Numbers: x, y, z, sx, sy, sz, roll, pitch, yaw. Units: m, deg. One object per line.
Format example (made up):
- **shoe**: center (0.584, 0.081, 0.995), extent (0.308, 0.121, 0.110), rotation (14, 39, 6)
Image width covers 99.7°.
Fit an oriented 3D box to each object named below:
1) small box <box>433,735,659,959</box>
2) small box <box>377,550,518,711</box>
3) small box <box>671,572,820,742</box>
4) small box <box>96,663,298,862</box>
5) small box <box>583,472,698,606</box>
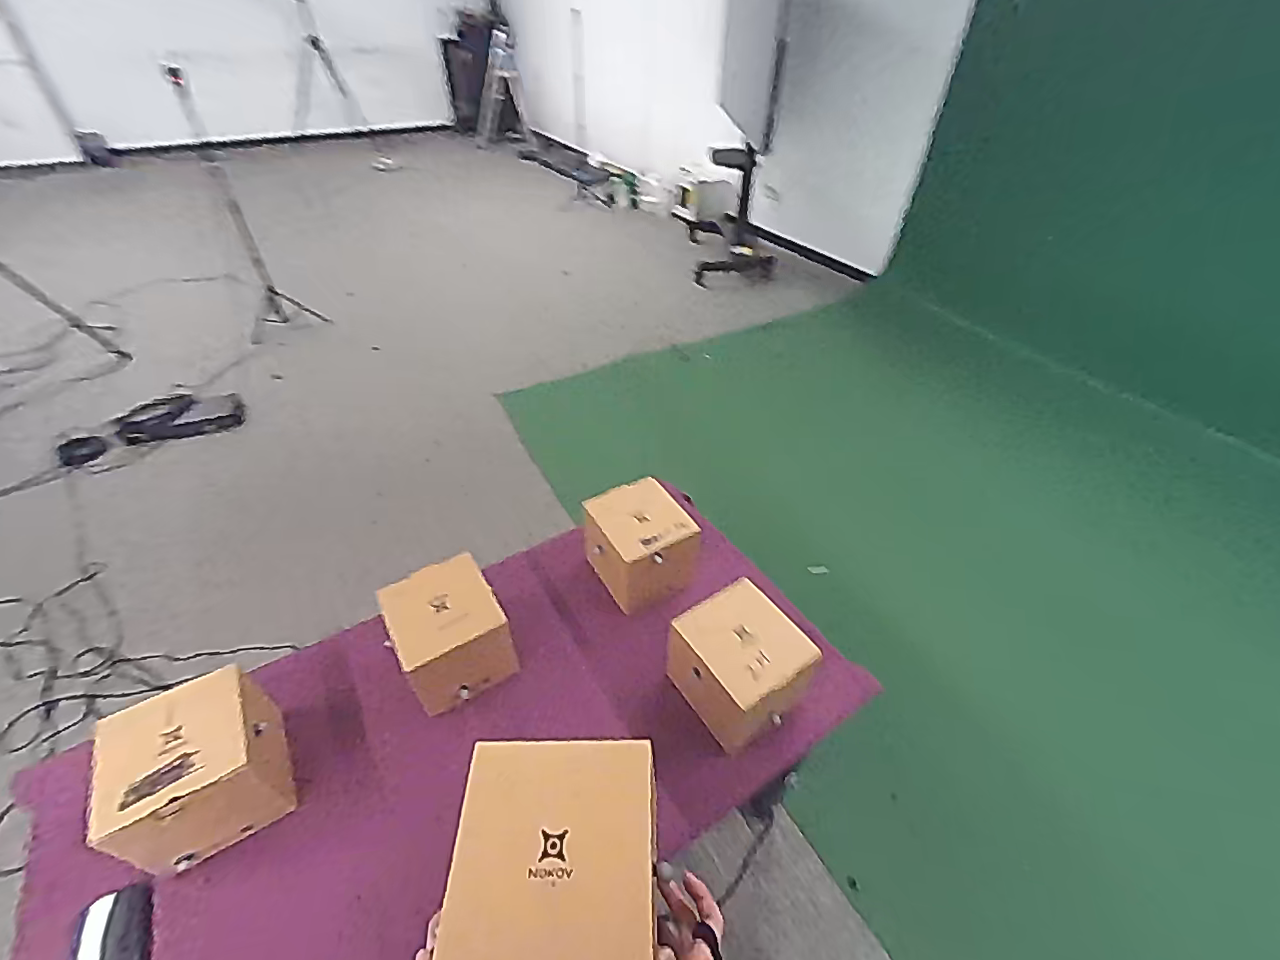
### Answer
- **small box**: center (-0.068, 0.357, 0.503), extent (0.168, 0.176, 0.179), rotation (-1, 48, 2)
- **small box**: center (-0.330, 0.261, 0.942), extent (0.168, 0.176, 0.179), rotation (-24, 49, -24)
- **small box**: center (0.163, 0.294, 0.904), extent (0.168, 0.176, 0.179), rotation (-25, 49, -24)
- **small box**: center (-0.620, 0.408, 0.776), extent (0.168, 0.176, 0.179), rotation (-24, 47, -25)
- **small box**: center (-0.003, 0.119, 1.098), extent (0.168, 0.176, 0.179), rotation (-23, 47, -22)
